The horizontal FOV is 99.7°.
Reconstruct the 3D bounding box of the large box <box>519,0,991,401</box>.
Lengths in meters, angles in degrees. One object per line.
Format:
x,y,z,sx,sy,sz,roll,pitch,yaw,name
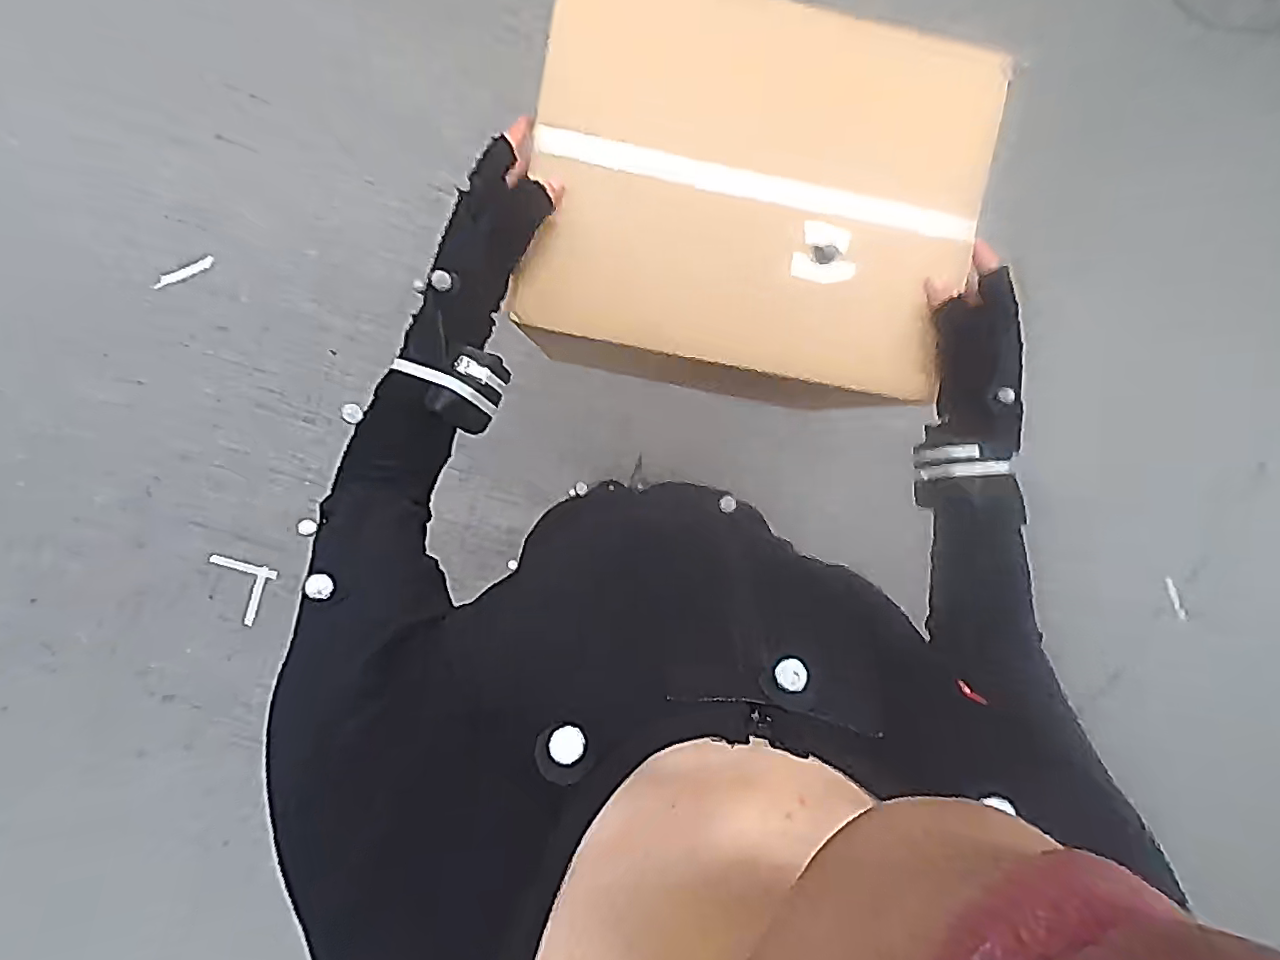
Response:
0.094,-0.282,0.640,0.408,0.320,0.320,9,96,-5,large box
